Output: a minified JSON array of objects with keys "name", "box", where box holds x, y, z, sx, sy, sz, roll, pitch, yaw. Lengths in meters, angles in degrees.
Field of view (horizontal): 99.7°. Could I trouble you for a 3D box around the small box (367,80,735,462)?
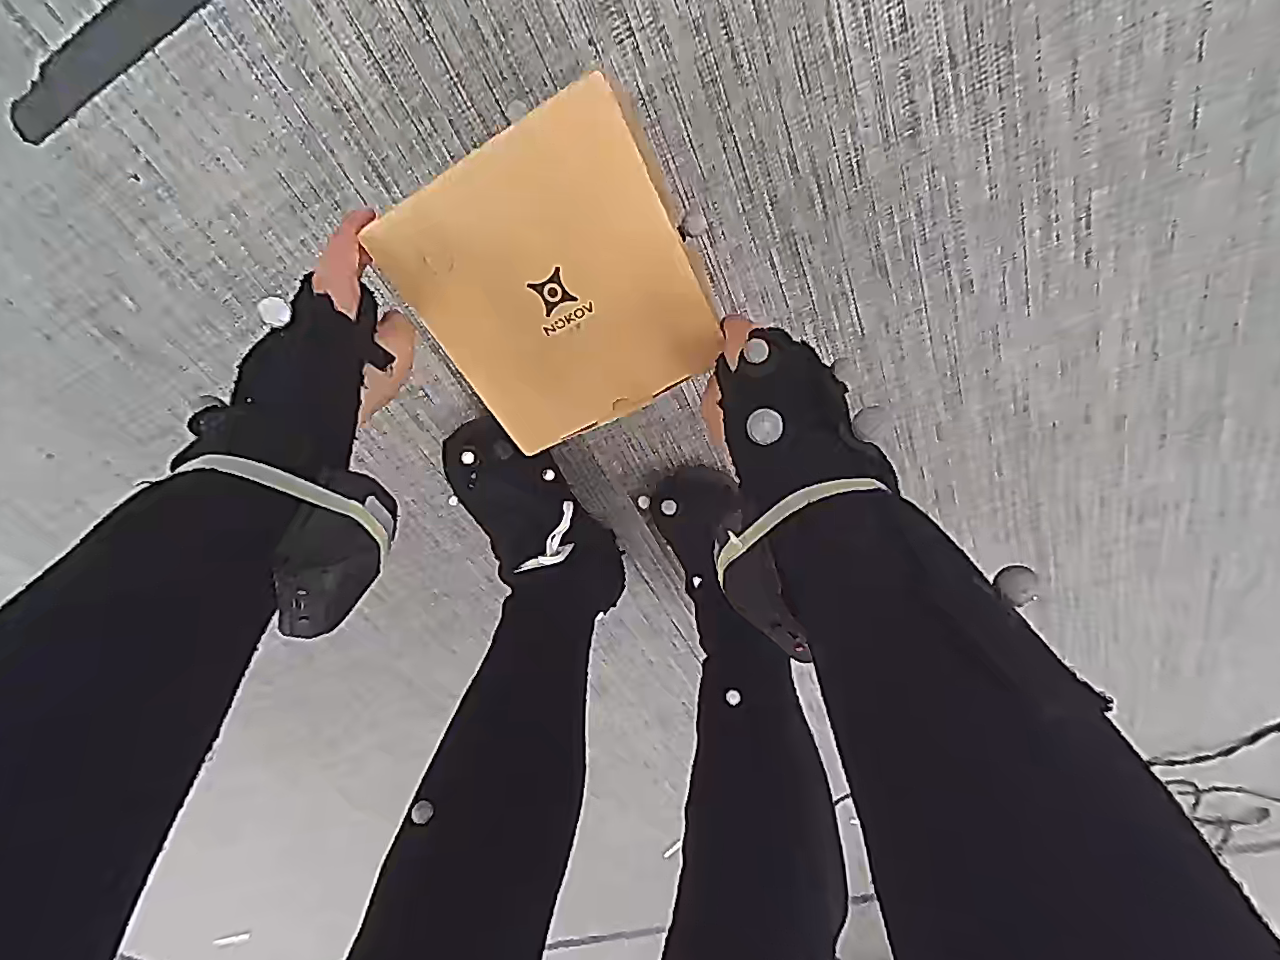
[{"name":"small box","box":[-0.049,-0.151,0.398,0.168,0.176,0.179,-24,122,16]}]
